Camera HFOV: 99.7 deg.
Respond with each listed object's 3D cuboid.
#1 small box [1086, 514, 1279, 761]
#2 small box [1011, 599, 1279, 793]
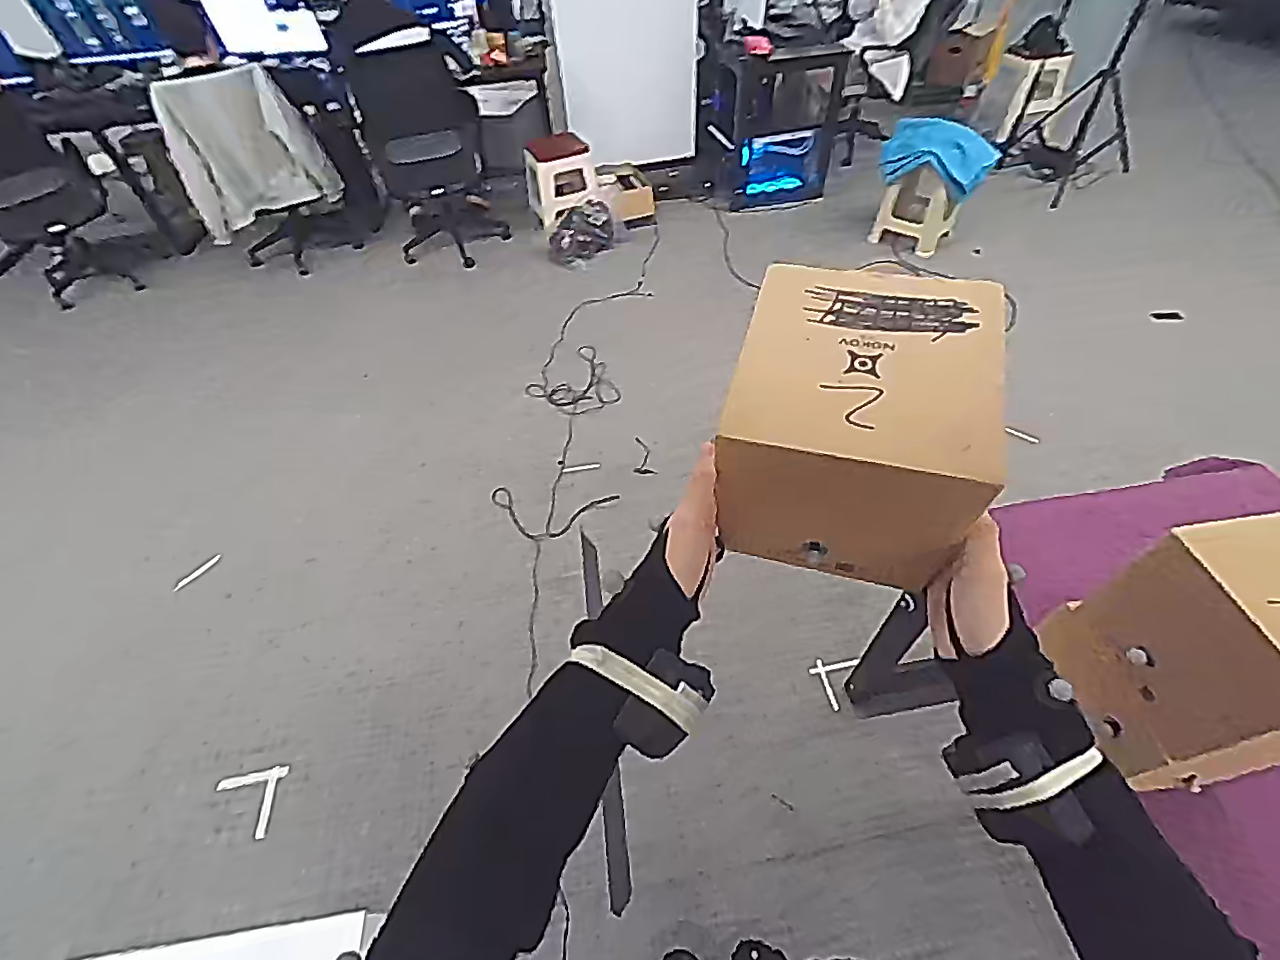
[{"bbox_3d":[0.583,0.146,0.499,0.179,0.176,0.168,-7,50,0],"label":"small box"},{"bbox_3d":[0.584,0.249,0.627,0.168,0.176,0.179,-6,50,0],"label":"small box"}]
